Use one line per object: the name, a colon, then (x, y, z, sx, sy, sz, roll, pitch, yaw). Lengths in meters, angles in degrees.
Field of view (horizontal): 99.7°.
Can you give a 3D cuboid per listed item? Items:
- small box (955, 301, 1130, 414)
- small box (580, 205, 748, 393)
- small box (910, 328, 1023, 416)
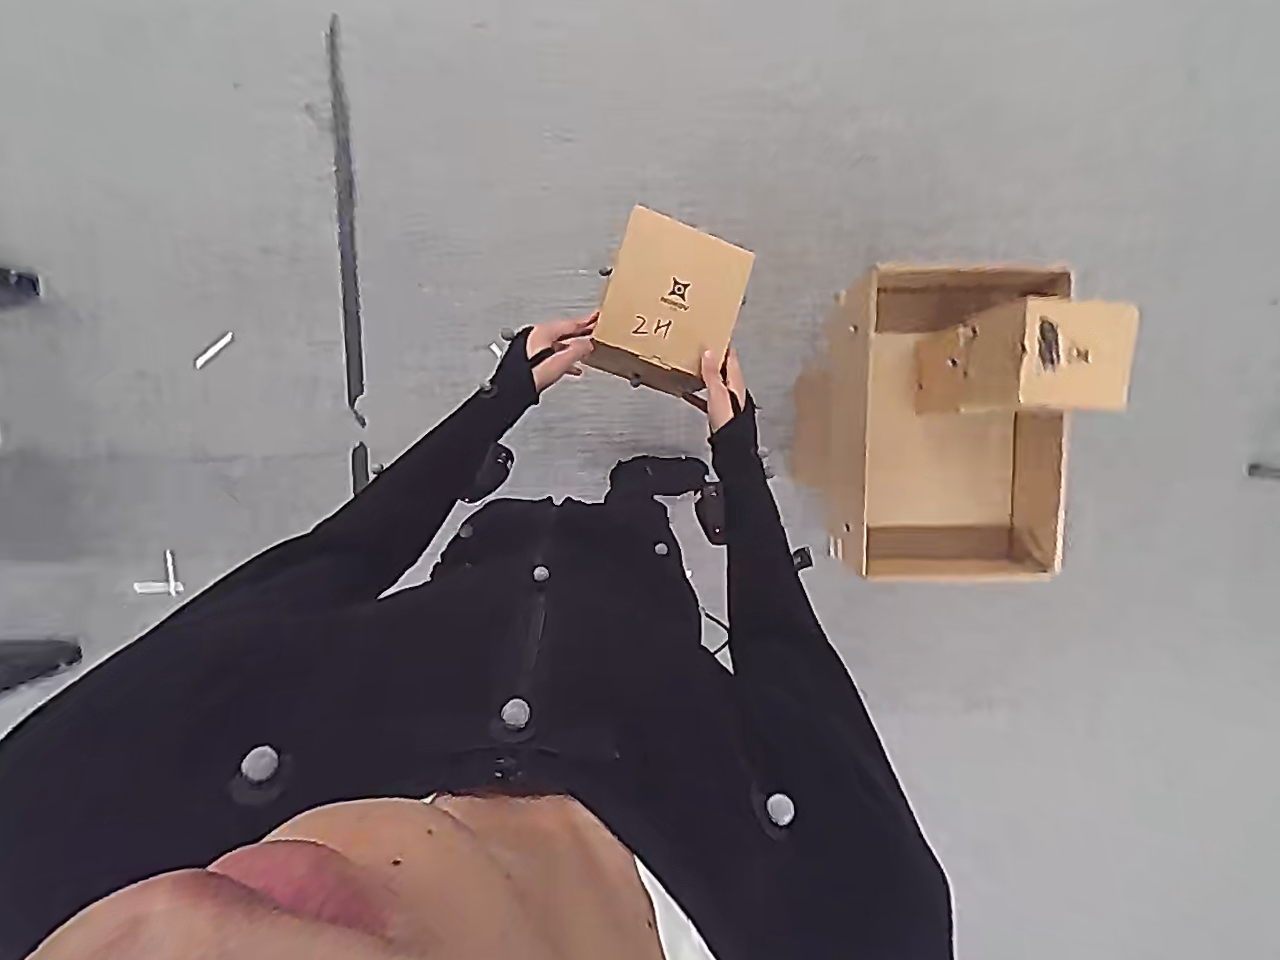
small box: (0.686, -0.205, 0.945, 0.179, 0.176, 0.168, 4, 96, -1)
small box: (0.021, -0.232, 0.745, 0.168, 0.176, 0.179, 17, 90, -12)
small box: (0.684, -0.217, 1.109, 0.179, 0.176, 0.168, -3, 95, 0)
